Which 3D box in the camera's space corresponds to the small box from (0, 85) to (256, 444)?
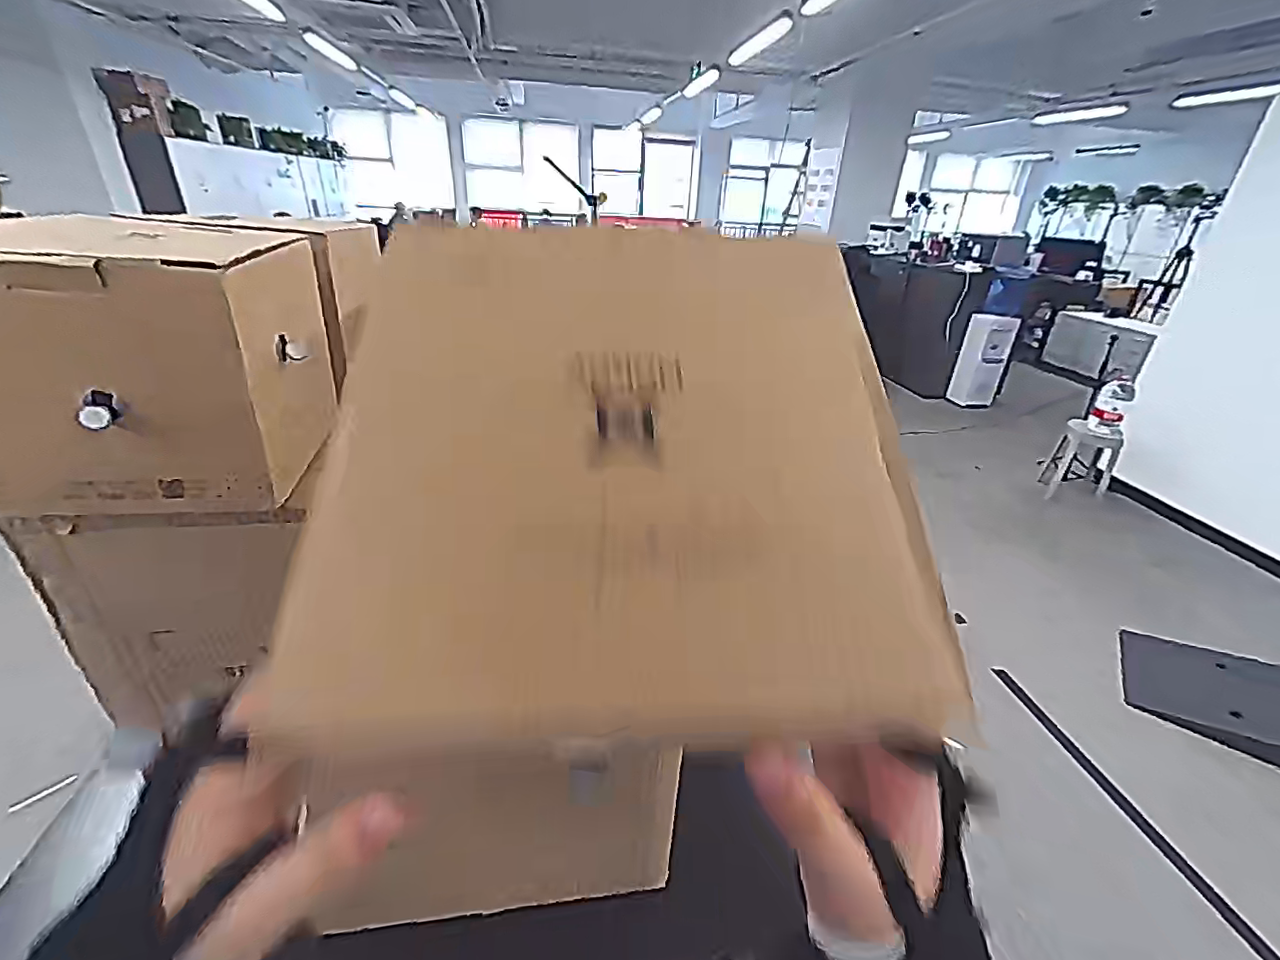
[{"bbox_3d":[-0.323,-0.128,0.320,0.168,0.176,0.179,-1,31,-15],"label":"small box"}]
